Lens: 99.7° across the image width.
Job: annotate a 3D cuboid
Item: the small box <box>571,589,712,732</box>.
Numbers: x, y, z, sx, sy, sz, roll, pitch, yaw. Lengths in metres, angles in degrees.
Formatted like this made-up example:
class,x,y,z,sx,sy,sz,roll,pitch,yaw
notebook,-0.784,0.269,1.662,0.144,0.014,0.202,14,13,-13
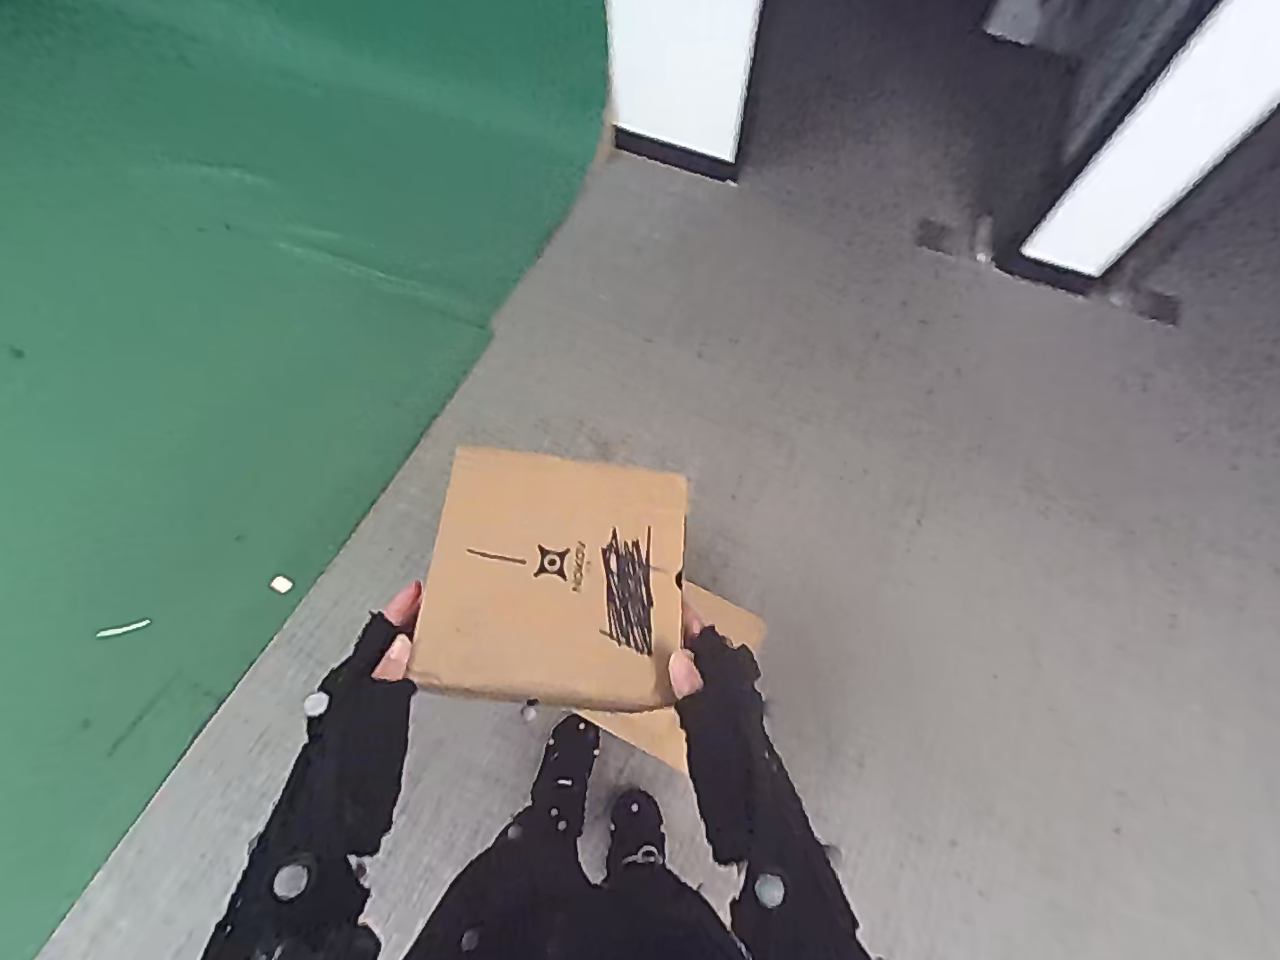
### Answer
class,x,y,z,sx,sy,sz,roll,pitch,yaw
small box,0.005,0.311,0.928,0.179,0.176,0.168,23,71,10
